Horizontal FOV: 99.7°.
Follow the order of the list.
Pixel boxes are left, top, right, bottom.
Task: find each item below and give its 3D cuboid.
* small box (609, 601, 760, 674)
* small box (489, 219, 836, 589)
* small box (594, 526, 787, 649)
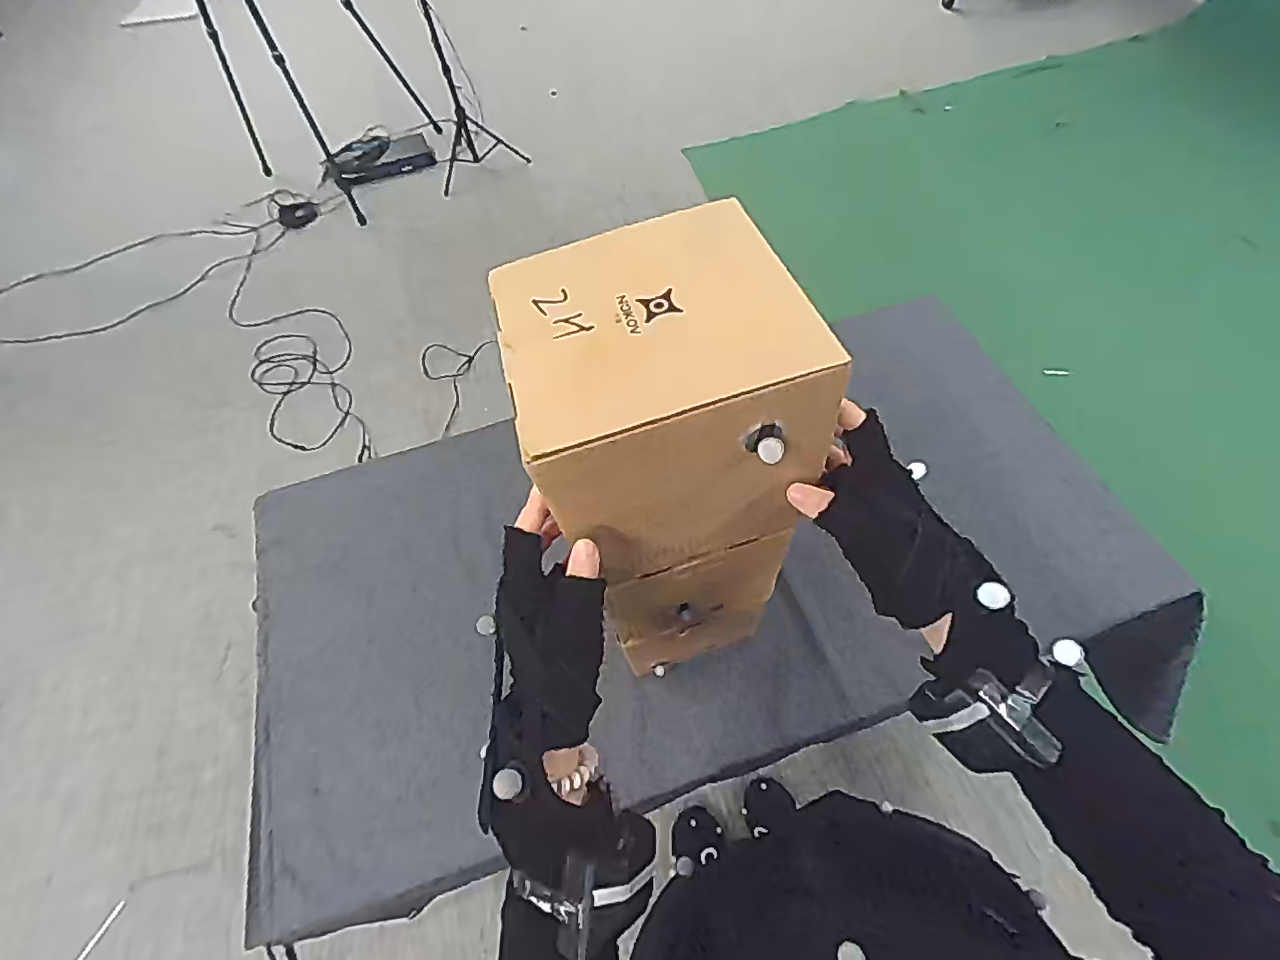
[{"bbox_3d":[0.036,0.128,0.681,0.168,0.176,0.179,-18,58,-6],"label":"small box"},{"bbox_3d":[0.012,-0.045,0.388,0.179,0.176,0.168,-18,55,-1],"label":"small box"},{"bbox_3d":[0.024,0.044,0.542,0.168,0.176,0.179,-18,59,-6],"label":"small box"}]
